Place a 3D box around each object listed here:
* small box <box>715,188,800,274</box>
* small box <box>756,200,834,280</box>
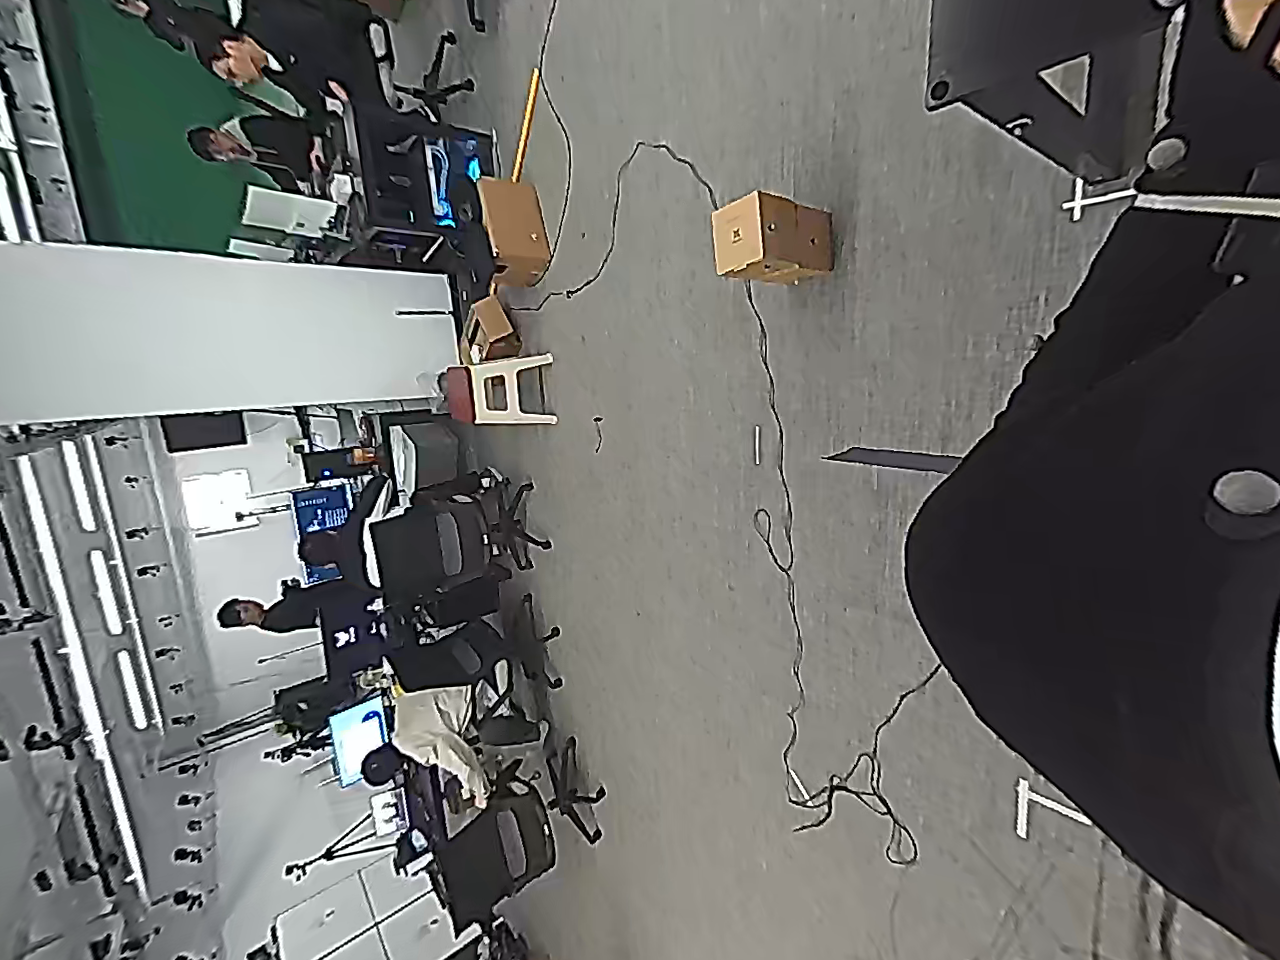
[{"bbox_3d":[0.332,-0.685,1.513,0.168,0.176,0.179,2,99,51],"label":"small box"},{"bbox_3d":[0.460,-0.705,1.611,0.168,0.176,0.179,7,105,51],"label":"small box"}]
